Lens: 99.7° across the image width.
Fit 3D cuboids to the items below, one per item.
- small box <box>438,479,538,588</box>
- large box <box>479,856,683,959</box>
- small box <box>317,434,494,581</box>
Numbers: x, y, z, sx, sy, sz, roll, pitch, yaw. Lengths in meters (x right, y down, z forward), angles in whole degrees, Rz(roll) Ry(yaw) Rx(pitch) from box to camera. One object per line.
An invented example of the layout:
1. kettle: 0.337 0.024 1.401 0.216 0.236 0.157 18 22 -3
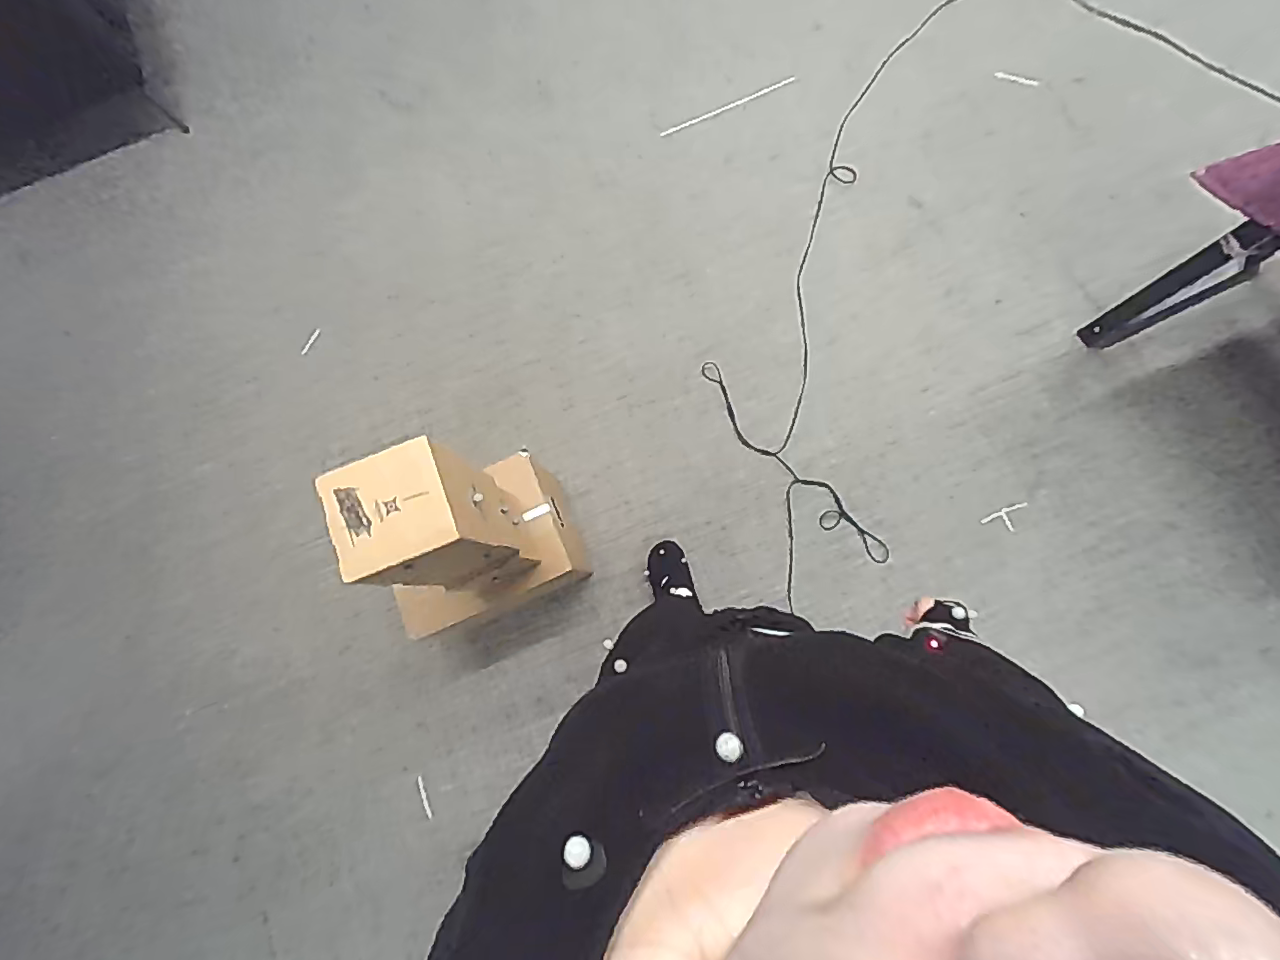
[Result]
1. small box: -0.341 0.121 1.165 0.168 0.176 0.179 -25 80 -1
2. large box: -0.130 1.147 1.208 0.408 0.320 0.320 -24 79 1
3. small box: -0.354 0.052 0.843 0.179 0.176 0.168 -22 80 -2
